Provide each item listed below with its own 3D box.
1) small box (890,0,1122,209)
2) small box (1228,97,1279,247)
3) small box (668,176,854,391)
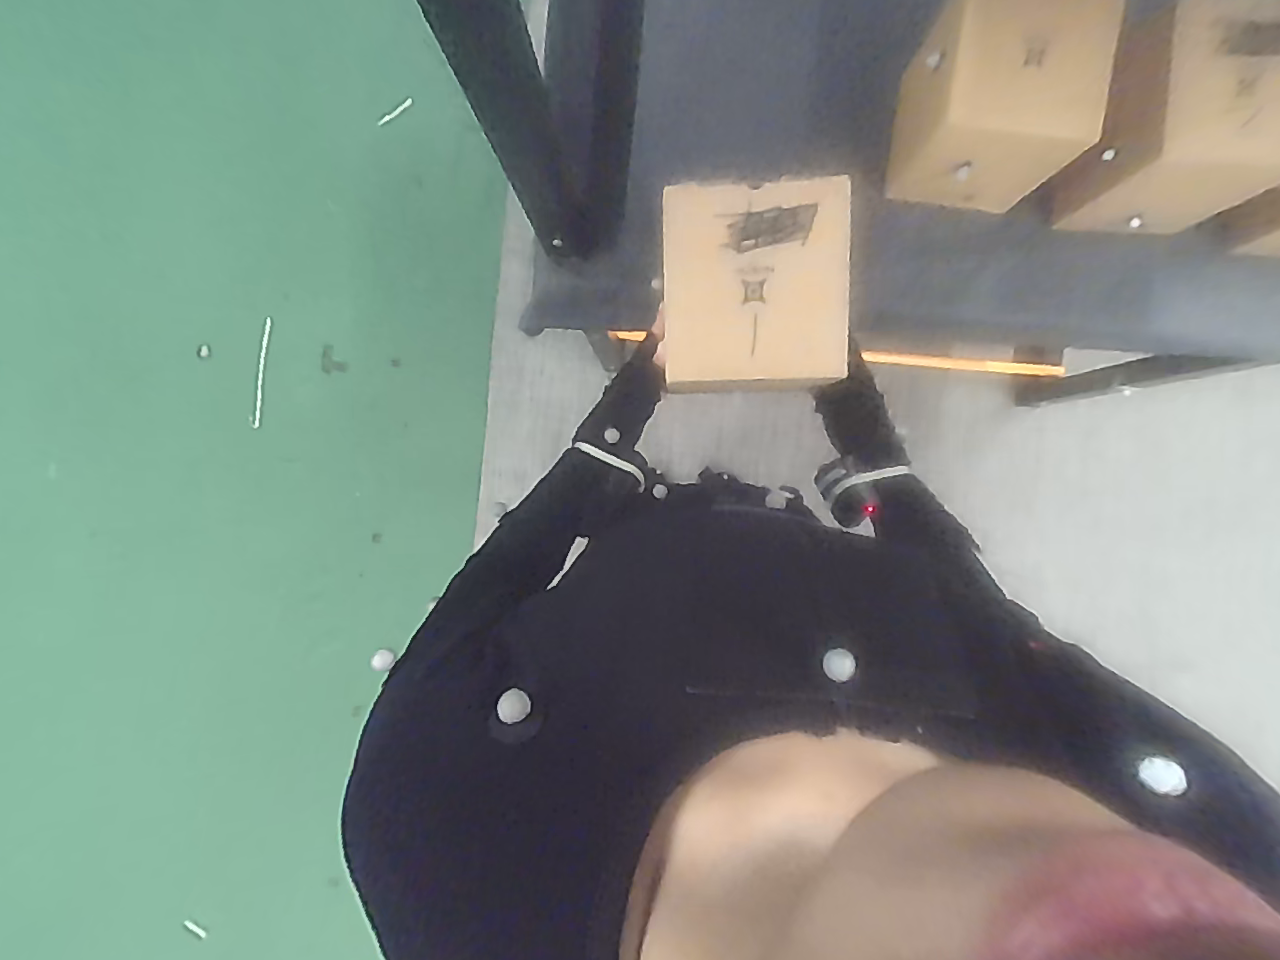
[{"bbox_3d":[0.431,-0.464,0.666,0.168,0.176,0.179,9,90,3],"label":"small box"},{"bbox_3d":[0.872,-0.389,0.645,0.168,0.176,0.179,4,90,2],"label":"small box"},{"bbox_3d":[0.112,-0.187,0.565,0.168,0.176,0.179,0,96,5],"label":"small box"}]
